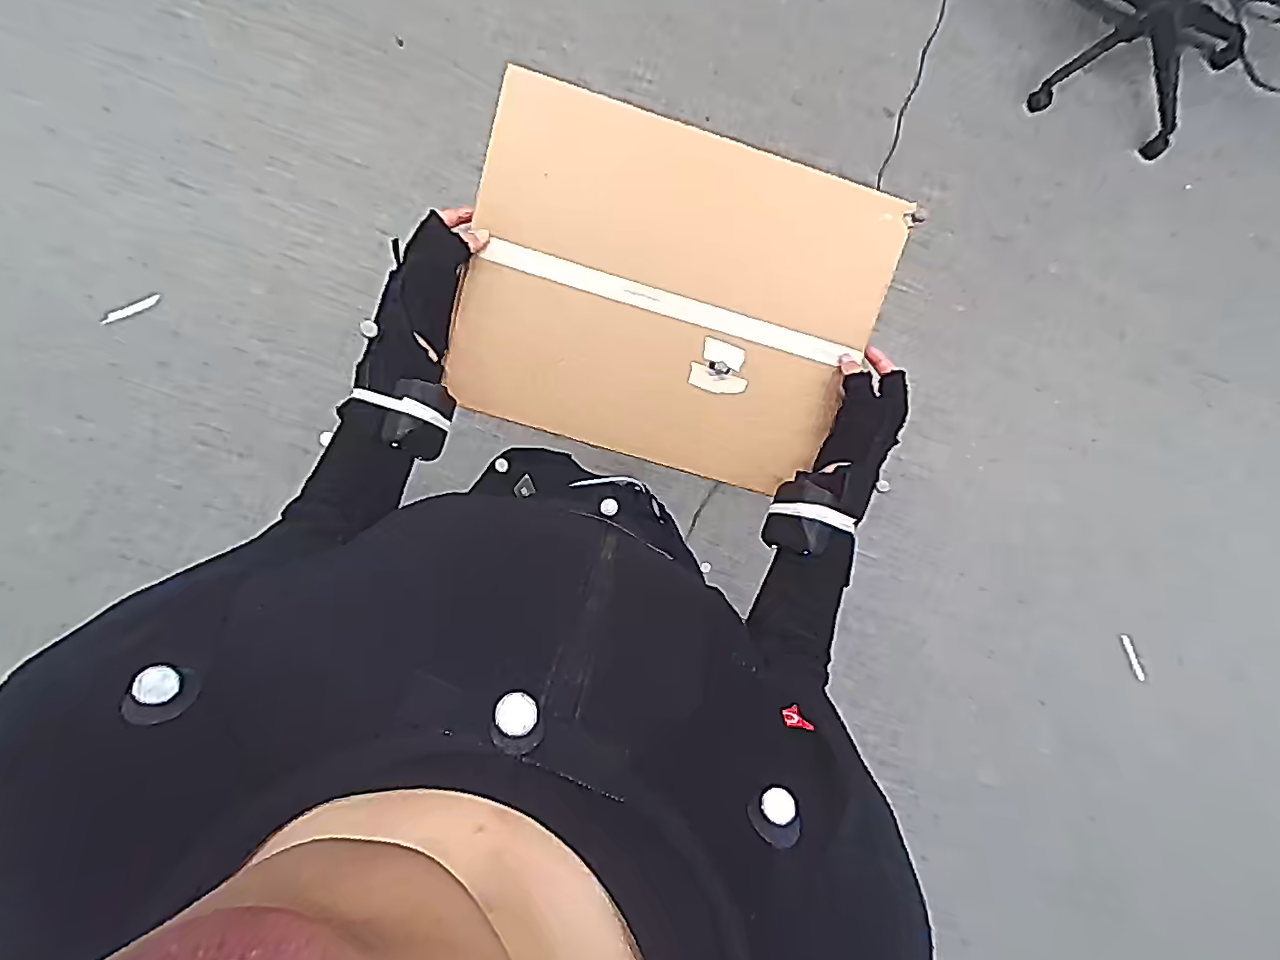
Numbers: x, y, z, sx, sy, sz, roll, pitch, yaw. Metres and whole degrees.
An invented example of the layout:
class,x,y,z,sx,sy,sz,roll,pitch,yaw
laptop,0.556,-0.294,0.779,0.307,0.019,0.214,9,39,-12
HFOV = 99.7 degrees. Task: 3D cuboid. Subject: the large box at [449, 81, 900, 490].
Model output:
class,x,y,z,sx,sy,sz,roll,pitch,yaw
large box,0.023,-0.211,0.695,0.408,0.320,0.320,16,102,-5
